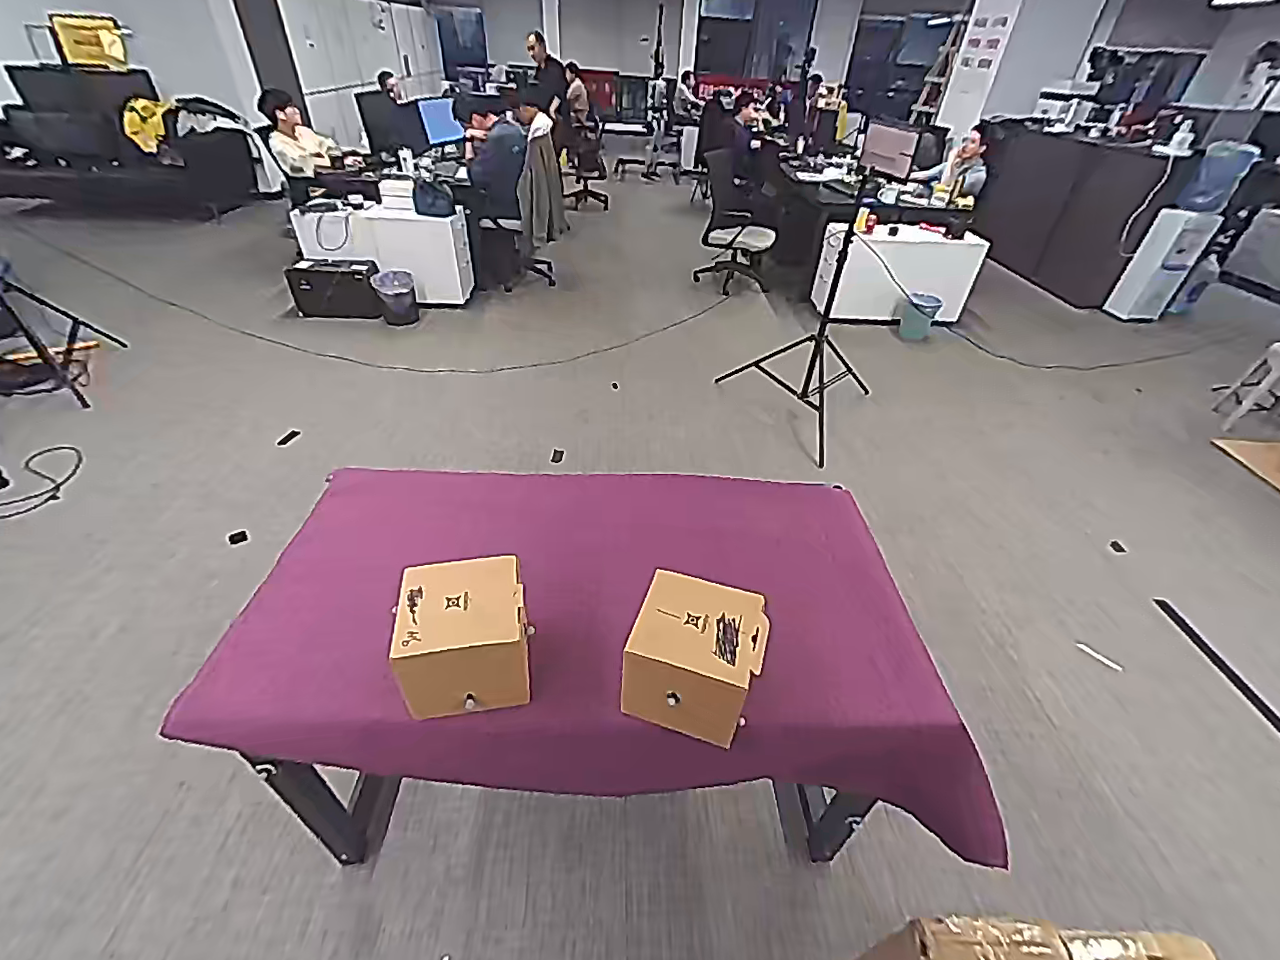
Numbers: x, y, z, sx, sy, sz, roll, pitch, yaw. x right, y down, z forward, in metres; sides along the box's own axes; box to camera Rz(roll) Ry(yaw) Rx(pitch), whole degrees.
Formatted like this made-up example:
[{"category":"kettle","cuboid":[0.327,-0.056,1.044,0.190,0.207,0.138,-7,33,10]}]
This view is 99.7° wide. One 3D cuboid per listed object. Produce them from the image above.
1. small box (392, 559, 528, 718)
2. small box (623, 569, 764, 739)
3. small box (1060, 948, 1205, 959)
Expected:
[{"category":"small box","cuboid":[-0.268,0.247,0.850,0.179,0.176,0.168,-5,38,-11]},{"category":"small box","cuboid":[0.082,0.273,0.842,0.179,0.176,0.168,13,39,14]},{"category":"small box","cuboid":[0.542,0.639,0.581,0.168,0.176,0.179,-2,40,-3]}]
